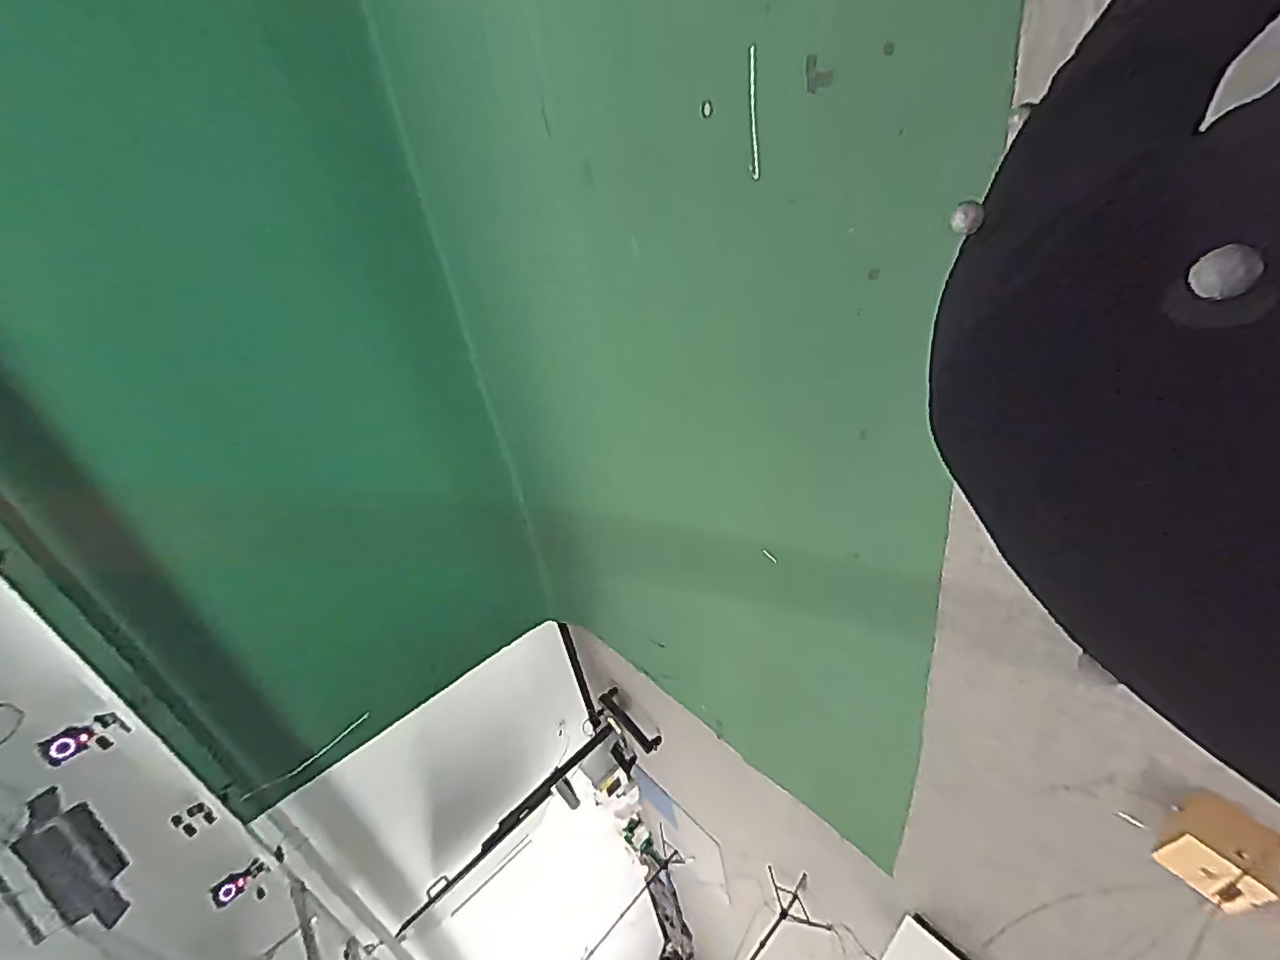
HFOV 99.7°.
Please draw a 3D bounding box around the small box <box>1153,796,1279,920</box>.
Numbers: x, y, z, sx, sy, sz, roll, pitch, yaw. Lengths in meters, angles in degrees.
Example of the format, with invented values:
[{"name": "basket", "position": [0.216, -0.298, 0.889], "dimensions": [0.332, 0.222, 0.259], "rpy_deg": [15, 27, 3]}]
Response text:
[{"name": "small box", "position": [1.491, 0.963, 1.387], "dimensions": [0.179, 0.176, 0.168], "rpy_deg": [37, 141, 35]}]
